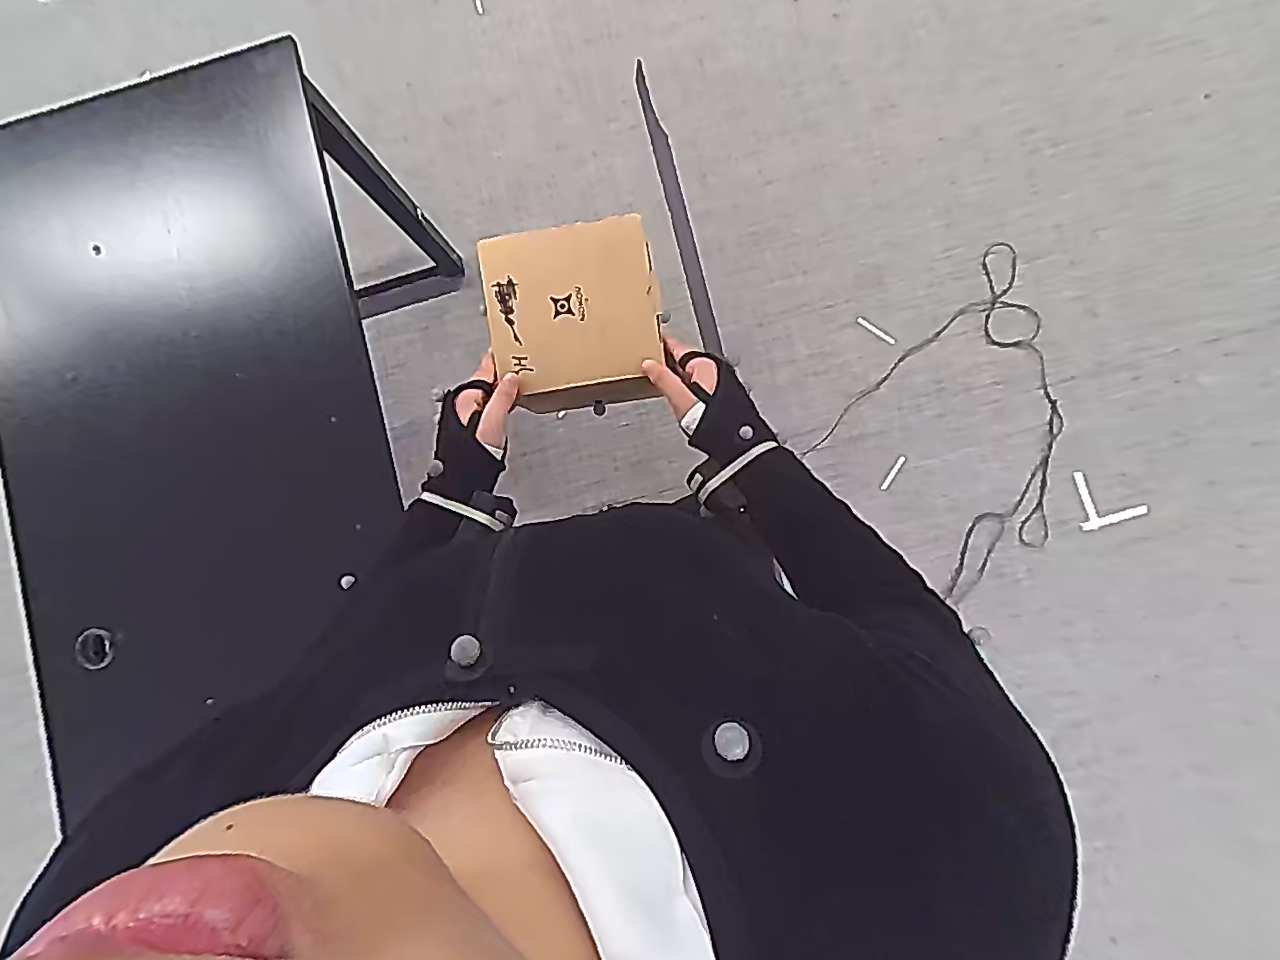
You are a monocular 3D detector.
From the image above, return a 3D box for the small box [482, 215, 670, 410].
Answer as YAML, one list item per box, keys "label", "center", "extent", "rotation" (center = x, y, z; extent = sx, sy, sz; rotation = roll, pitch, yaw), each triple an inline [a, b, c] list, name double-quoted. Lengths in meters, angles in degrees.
- label: "small box"
  center: [-0.065, -0.180, 0.631]
  extent: [0.179, 0.176, 0.168]
  rotation: [-8, 91, 1]
